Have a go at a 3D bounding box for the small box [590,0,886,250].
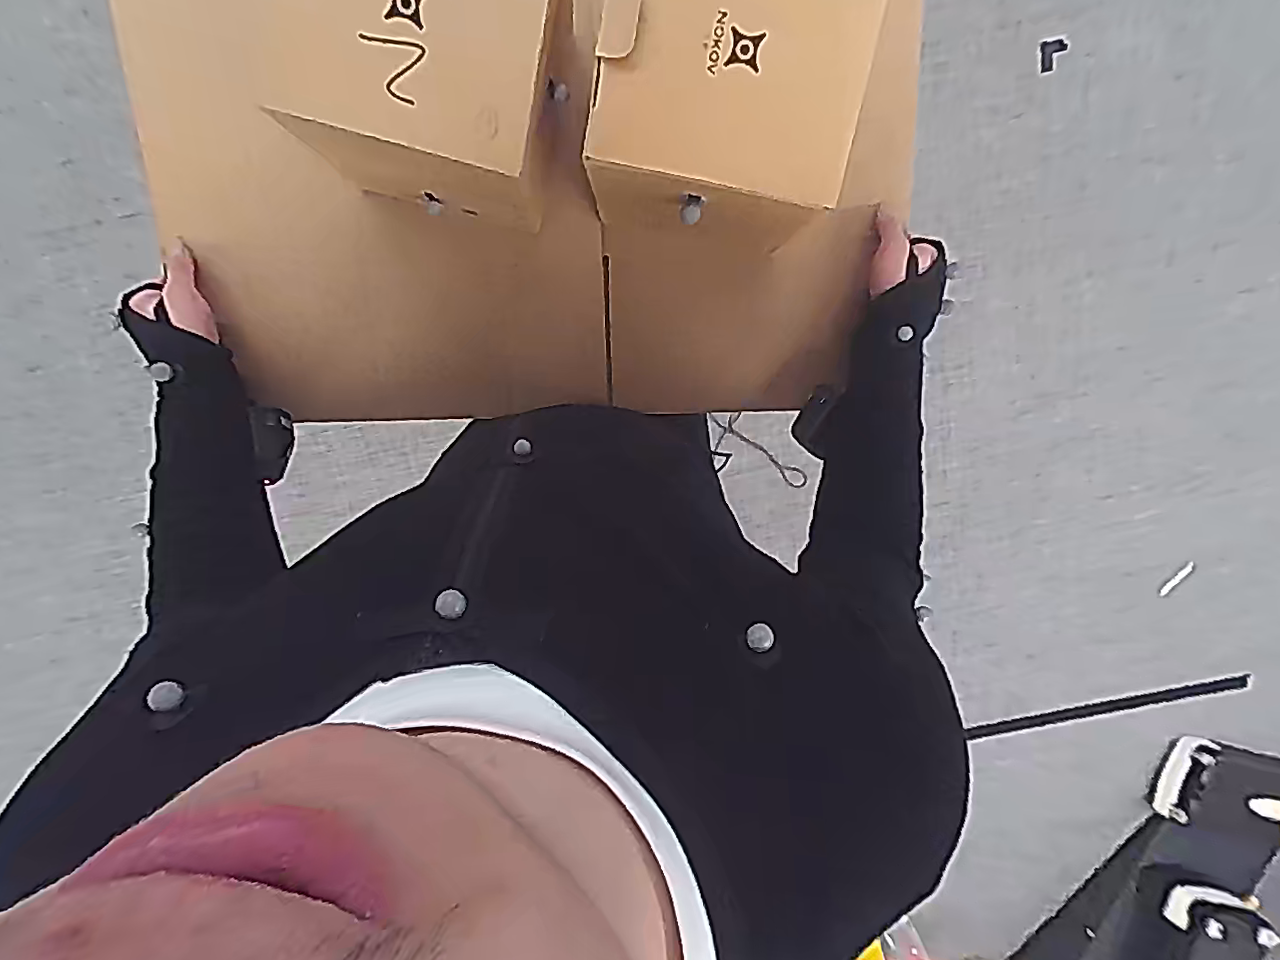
[{"bbox_3d":[0.067,-0.298,0.439,0.179,0.176,0.168,11,102,-1],"label":"small box"}]
